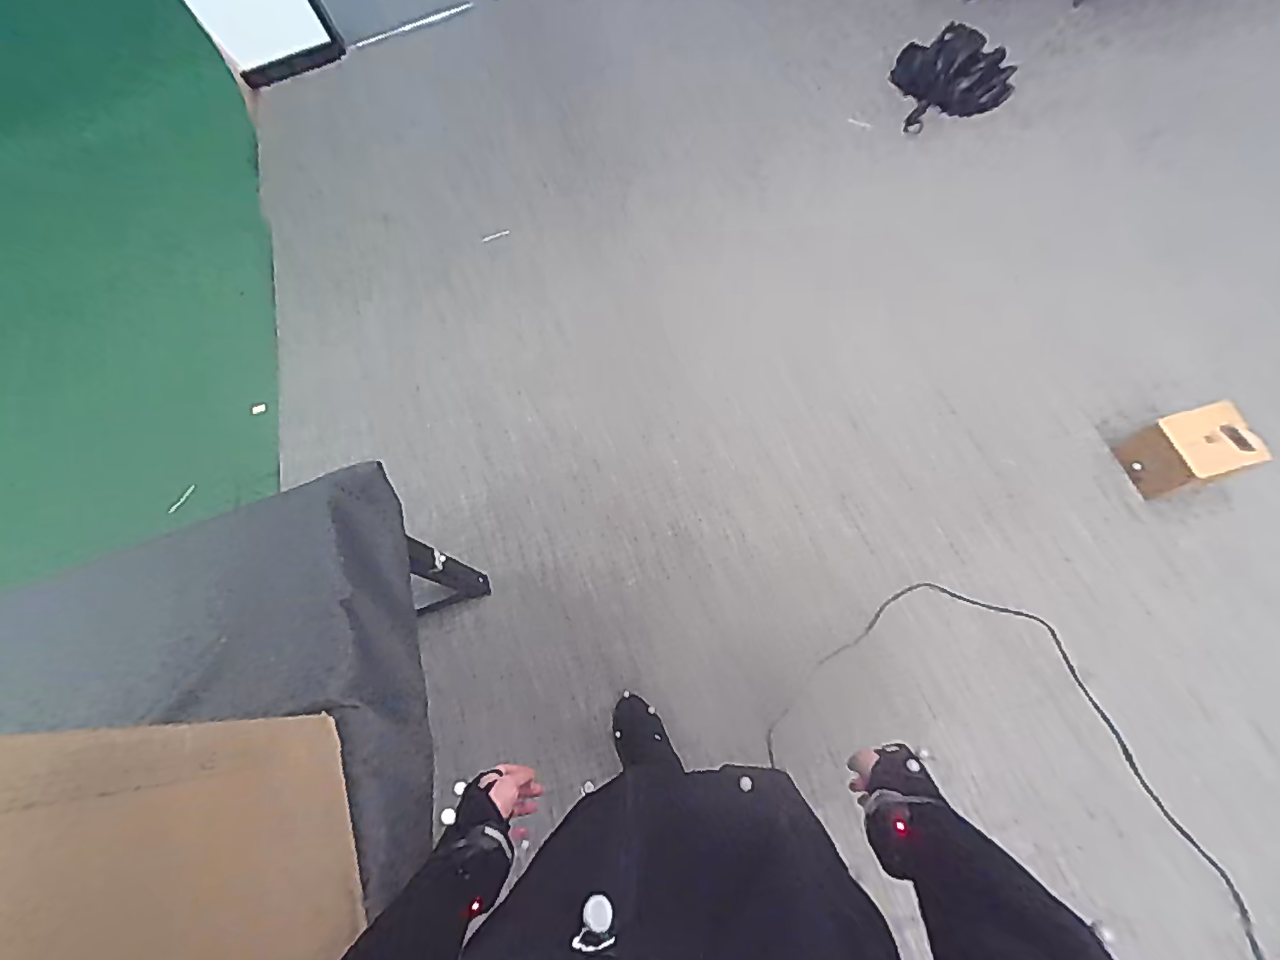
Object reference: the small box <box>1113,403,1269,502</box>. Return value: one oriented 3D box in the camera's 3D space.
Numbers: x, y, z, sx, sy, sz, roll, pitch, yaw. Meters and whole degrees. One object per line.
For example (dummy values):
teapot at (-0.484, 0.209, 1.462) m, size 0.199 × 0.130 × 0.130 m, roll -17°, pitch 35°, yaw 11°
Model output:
small box at (1.355, -0.063, 1.346) m, size 0.179 × 0.176 × 0.168 m, roll -17°, pitch 66°, yaw 4°
